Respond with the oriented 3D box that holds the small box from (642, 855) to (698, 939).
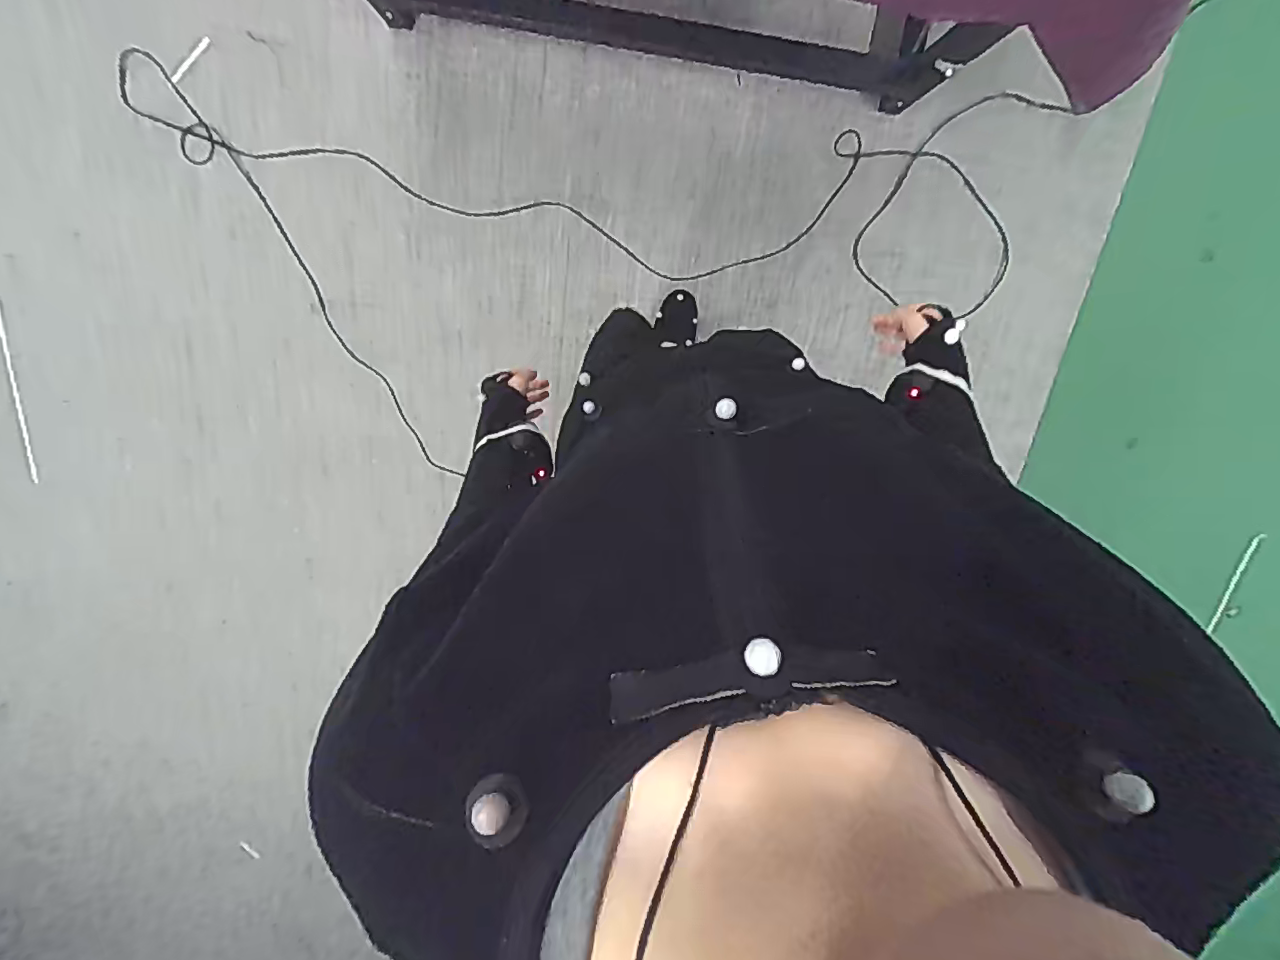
[{"bbox_3d":[0.097,1.433,1.865,0.179,0.176,0.168,3,106,-2],"label":"small box"}]
